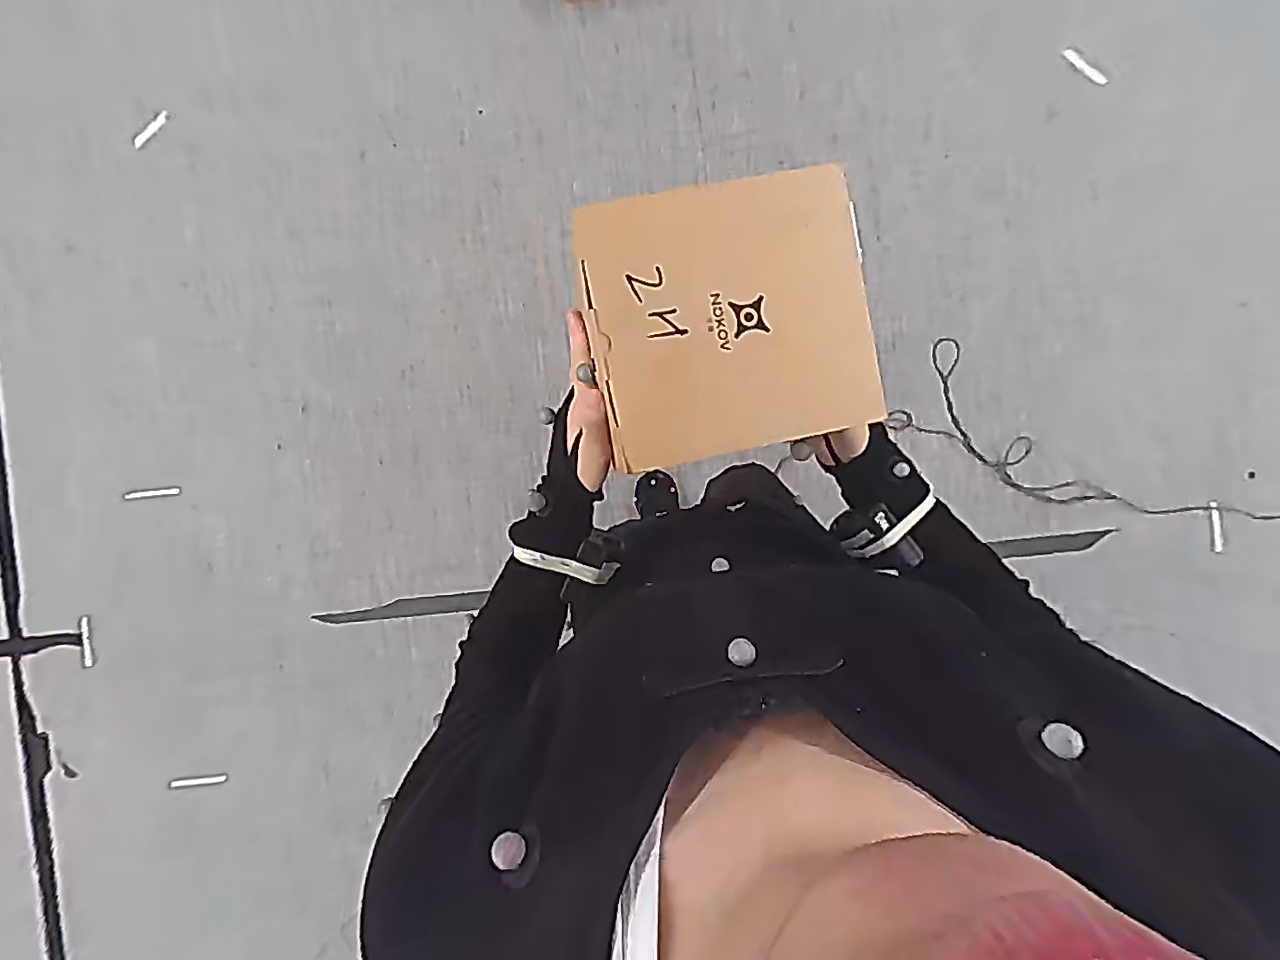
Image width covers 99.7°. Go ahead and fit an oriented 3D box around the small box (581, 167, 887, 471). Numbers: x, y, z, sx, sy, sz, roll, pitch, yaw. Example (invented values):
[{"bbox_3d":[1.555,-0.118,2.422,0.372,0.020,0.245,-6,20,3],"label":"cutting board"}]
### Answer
[{"bbox_3d":[0.054,-0.106,0.417,0.179,0.176,0.168,-12,94,-5],"label":"small box"}]
